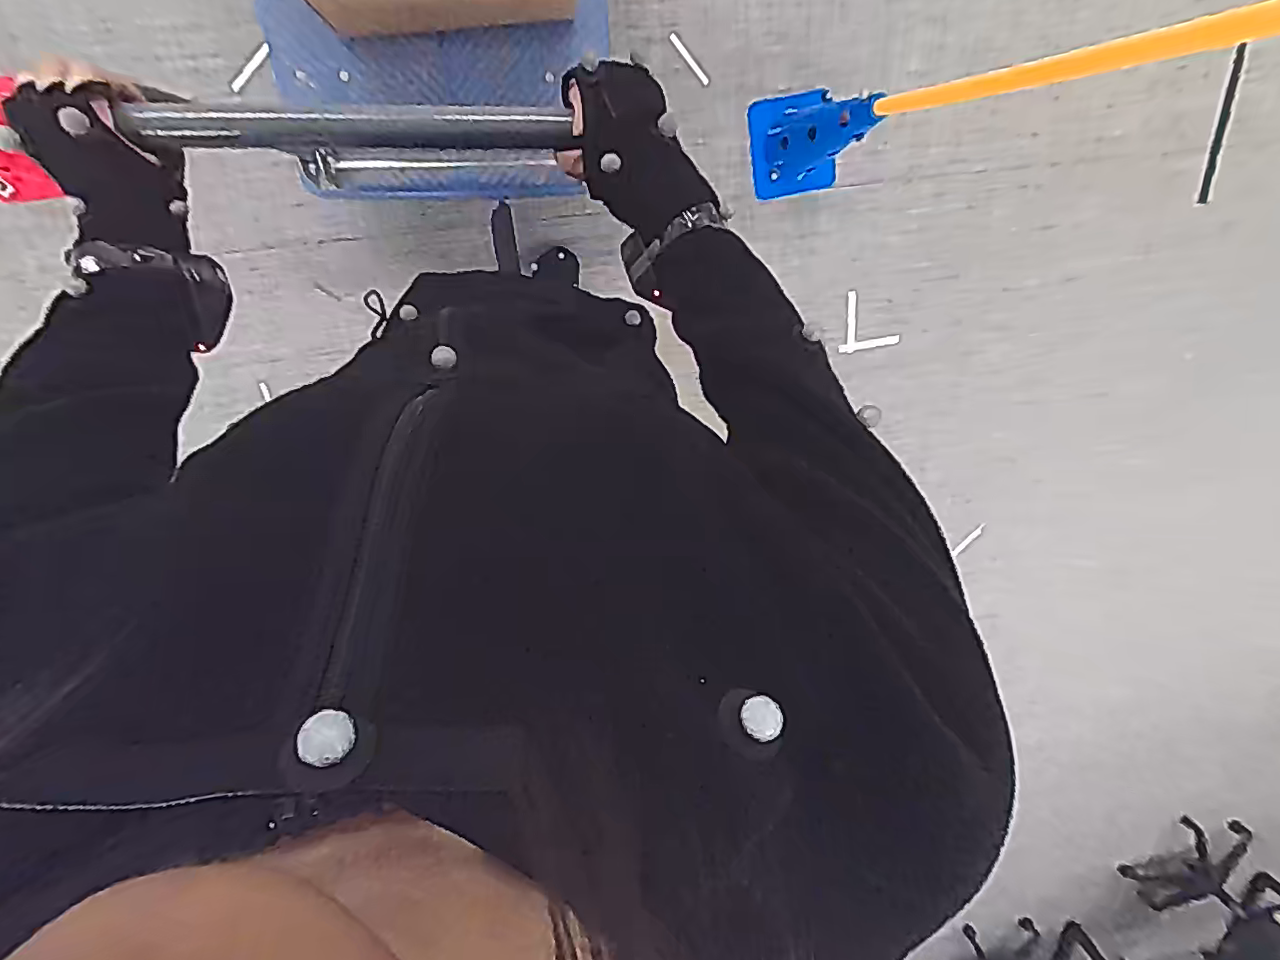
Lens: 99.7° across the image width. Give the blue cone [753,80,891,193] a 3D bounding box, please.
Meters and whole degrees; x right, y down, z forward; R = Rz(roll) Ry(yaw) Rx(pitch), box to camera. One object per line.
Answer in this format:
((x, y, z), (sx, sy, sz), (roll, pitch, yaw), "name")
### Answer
((0.382, -0.712, 1.085), (0.193, 0.380, 0.192), (-12, 113, -5), "blue cone")
